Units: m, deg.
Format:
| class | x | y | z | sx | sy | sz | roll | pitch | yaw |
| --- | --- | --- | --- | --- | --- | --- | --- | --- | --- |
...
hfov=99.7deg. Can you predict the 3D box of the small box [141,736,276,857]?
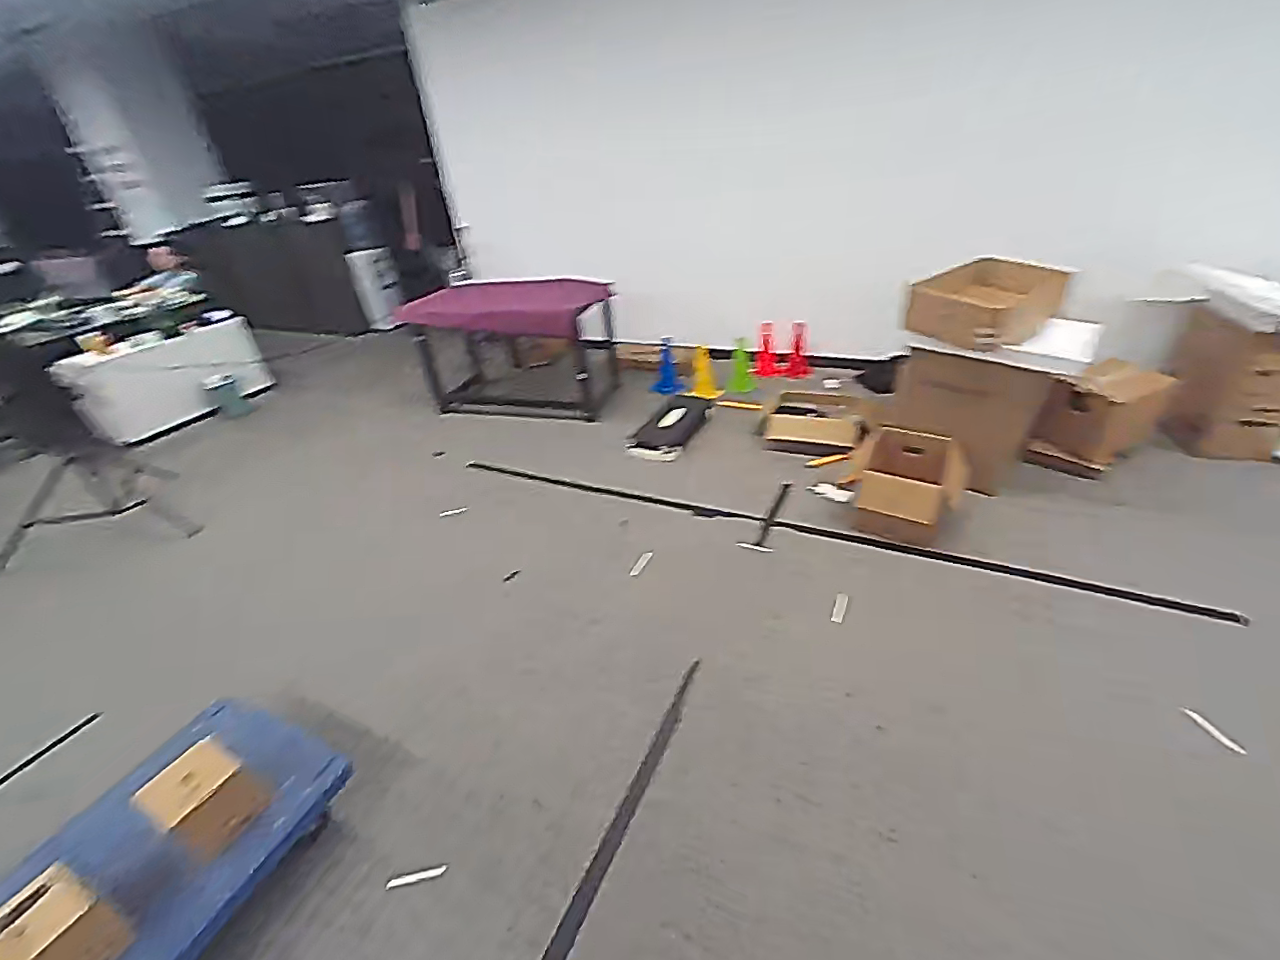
| class | x | y | z | sx | sy | sz | roll | pitch | yaw |
| --- | --- | --- | --- | --- | --- | --- | --- | --- | --- |
| small box | -1.046 | 0.774 | 1.321 | 0.179 | 0.176 | 0.168 | 13 | 38 | 27 |
